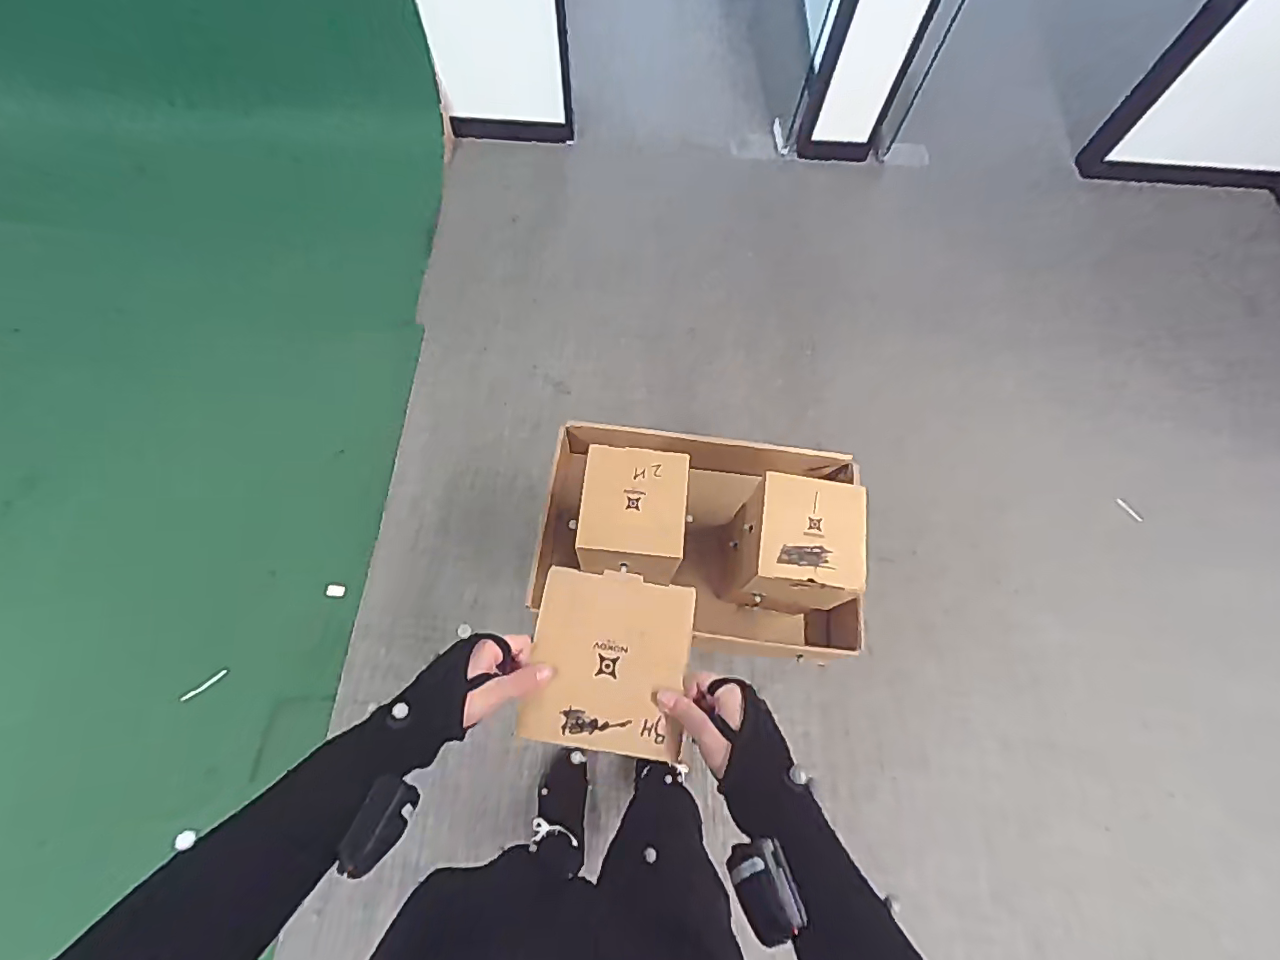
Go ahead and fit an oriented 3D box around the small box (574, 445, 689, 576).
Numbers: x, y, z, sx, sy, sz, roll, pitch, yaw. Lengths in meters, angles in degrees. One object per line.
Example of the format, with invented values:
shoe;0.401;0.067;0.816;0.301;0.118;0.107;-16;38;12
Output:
small box;-0.013;0.060;0.921;0.168;0.176;0.179;7;69;0

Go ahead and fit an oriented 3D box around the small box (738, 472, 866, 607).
small box;0.267;0.109;0.915;0.168;0.176;0.179;9;67;2

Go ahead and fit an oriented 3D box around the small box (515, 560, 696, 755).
small box;-0.035;0.213;0.634;0.168;0.176;0.179;8;64;1
